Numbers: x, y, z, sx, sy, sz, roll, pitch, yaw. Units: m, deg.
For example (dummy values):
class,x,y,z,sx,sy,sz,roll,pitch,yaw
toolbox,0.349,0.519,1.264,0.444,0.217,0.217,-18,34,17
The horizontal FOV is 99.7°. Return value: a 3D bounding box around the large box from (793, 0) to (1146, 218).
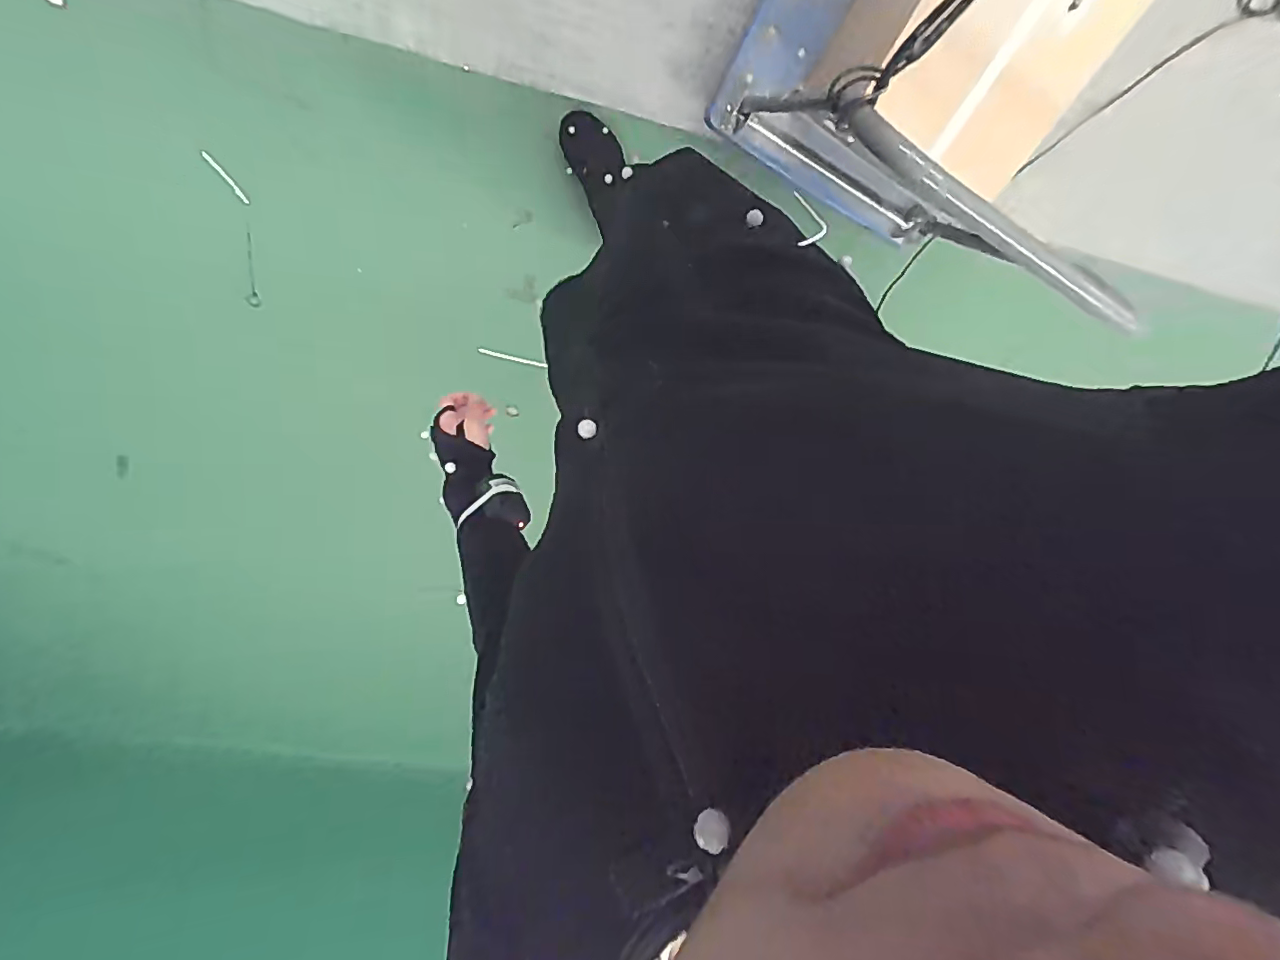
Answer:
class,x,y,z,sx,sy,sz,roll,pitch,yaw
large box,0.534,-0.739,0.926,0.320,0.320,0.408,21,122,-19
